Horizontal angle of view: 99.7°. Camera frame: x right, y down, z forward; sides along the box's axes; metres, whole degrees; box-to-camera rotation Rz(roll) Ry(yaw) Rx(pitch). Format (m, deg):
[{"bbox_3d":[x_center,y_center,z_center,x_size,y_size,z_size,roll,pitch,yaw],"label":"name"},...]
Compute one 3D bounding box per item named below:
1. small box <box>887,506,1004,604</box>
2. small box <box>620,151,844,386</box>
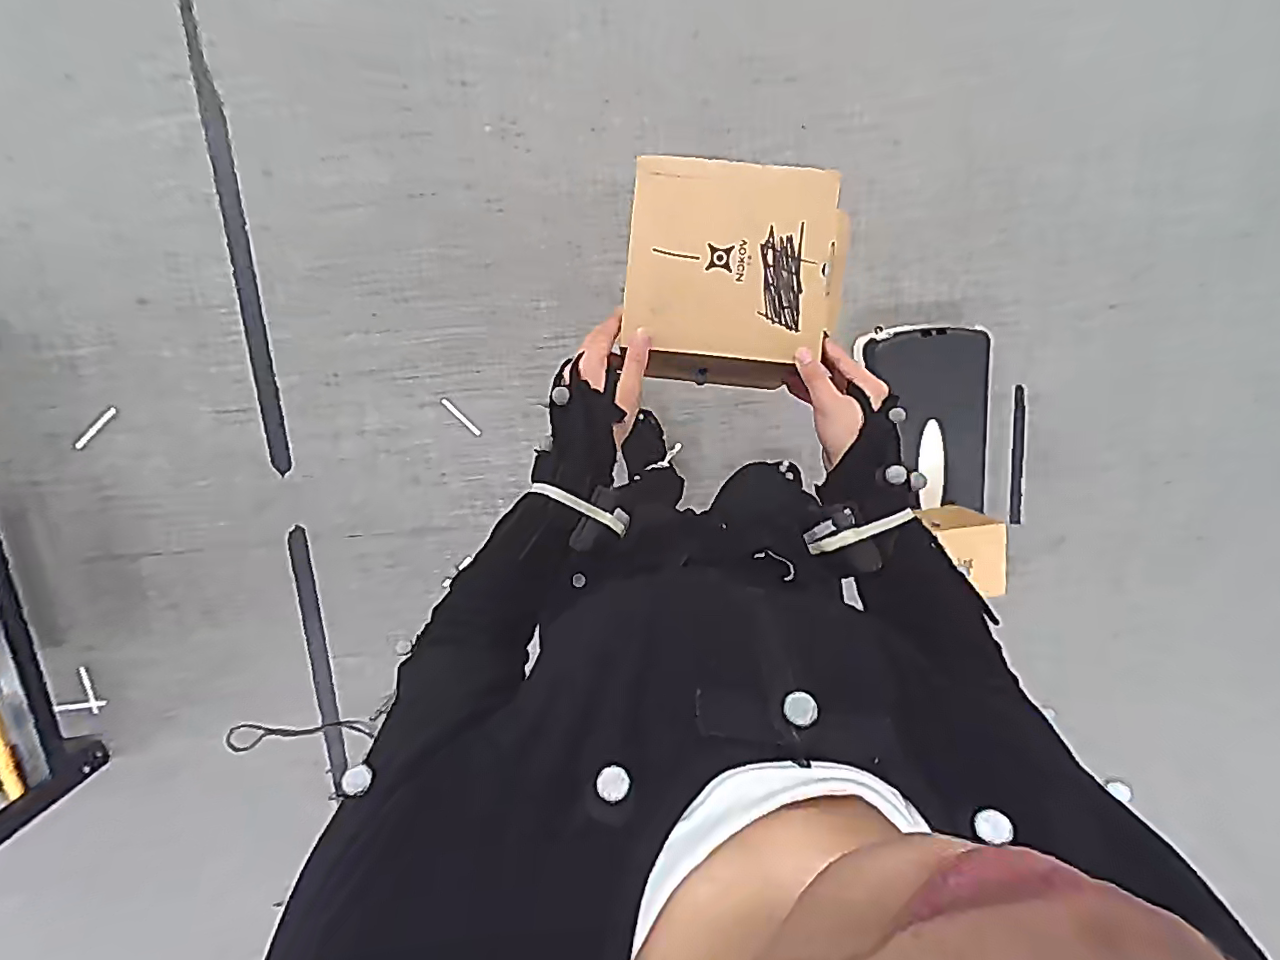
[{"bbox_3d":[0.692,0.164,1.237,0.179,0.176,0.168,-7,101,0],"label":"small box"},{"bbox_3d":[0.078,-0.189,0.534,0.179,0.176,0.168,5,93,1],"label":"small box"}]
